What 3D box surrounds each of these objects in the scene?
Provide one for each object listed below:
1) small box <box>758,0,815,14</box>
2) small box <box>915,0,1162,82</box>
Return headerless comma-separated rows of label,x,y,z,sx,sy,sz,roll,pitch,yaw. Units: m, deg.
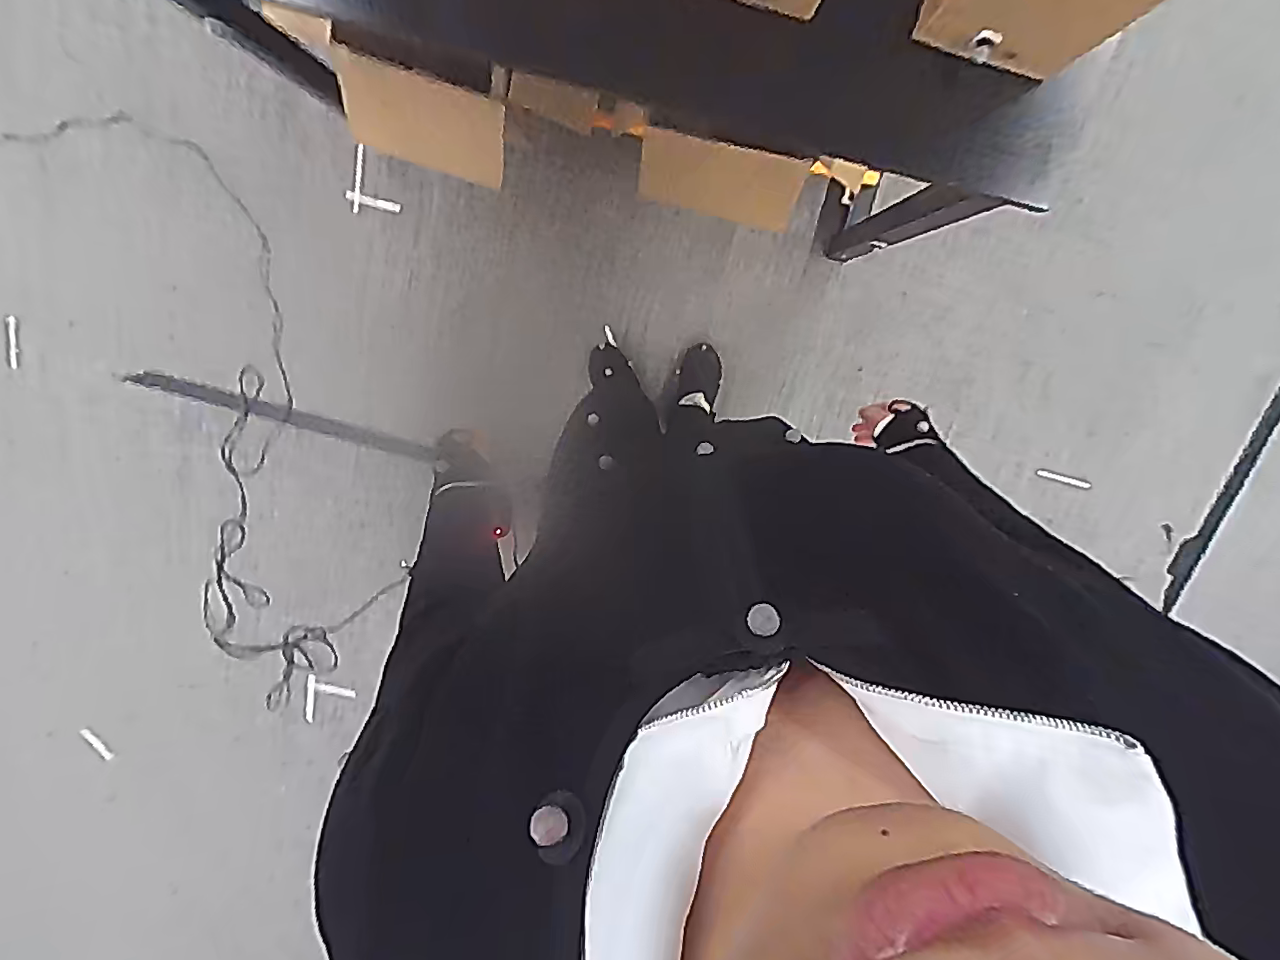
small box,0.129,-0.596,0.508,0.168,0.176,0.179,14,106,-2
small box,0.399,-0.534,0.519,0.168,0.176,0.179,15,106,-1
